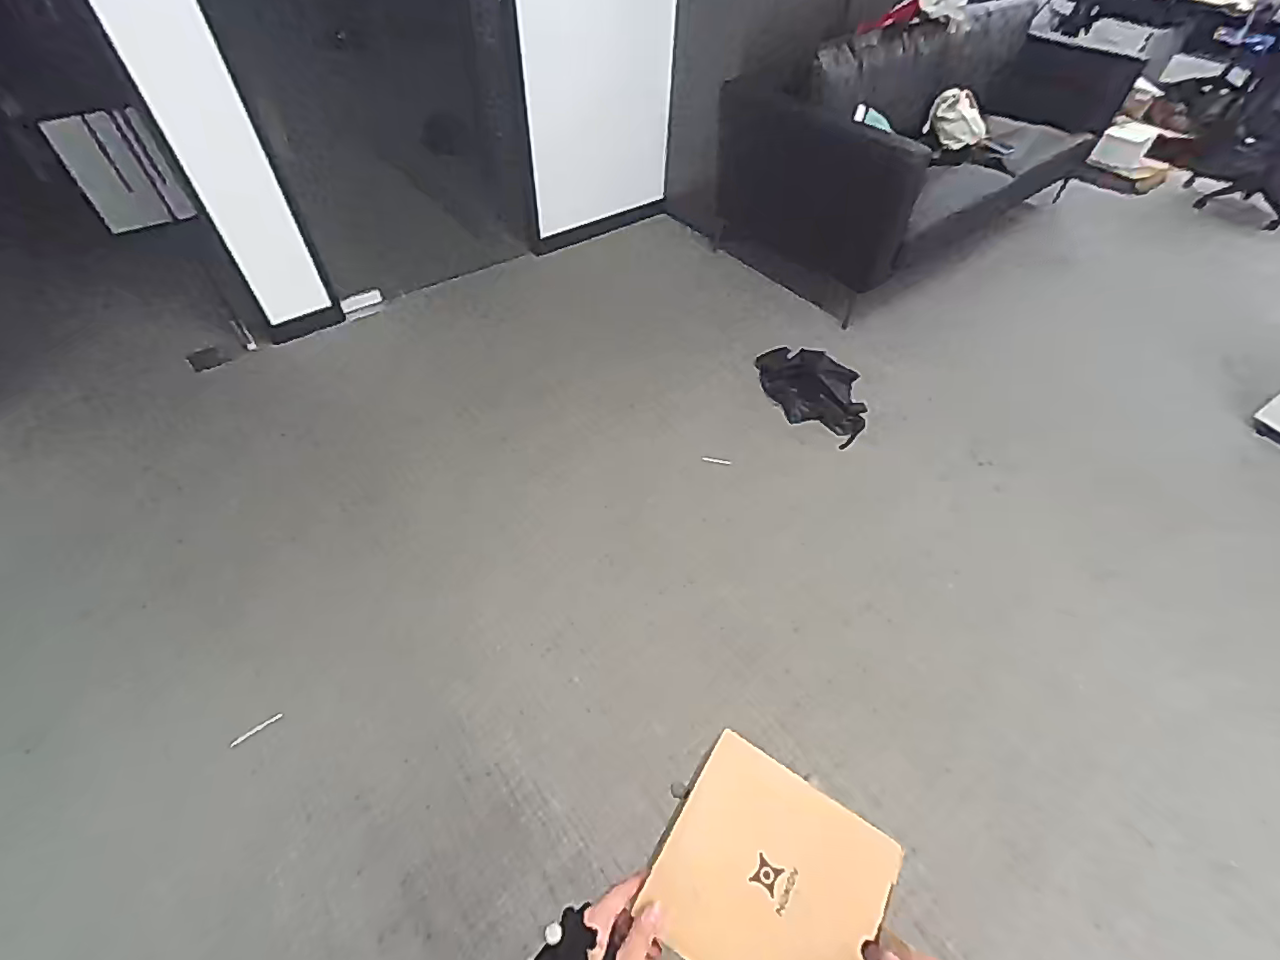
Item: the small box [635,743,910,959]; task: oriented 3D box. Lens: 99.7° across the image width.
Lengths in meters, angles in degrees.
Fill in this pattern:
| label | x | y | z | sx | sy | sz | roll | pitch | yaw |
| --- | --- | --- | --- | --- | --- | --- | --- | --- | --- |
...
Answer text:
| label | x | y | z | sx | sy | sz | roll | pitch | yaw |
| --- | --- | --- | --- | --- | --- | --- | --- | --- | --- |
| small box | 0.107 | 0.383 | 0.500 | 0.179 | 0.176 | 0.168 | 29 | 58 | 16 |
